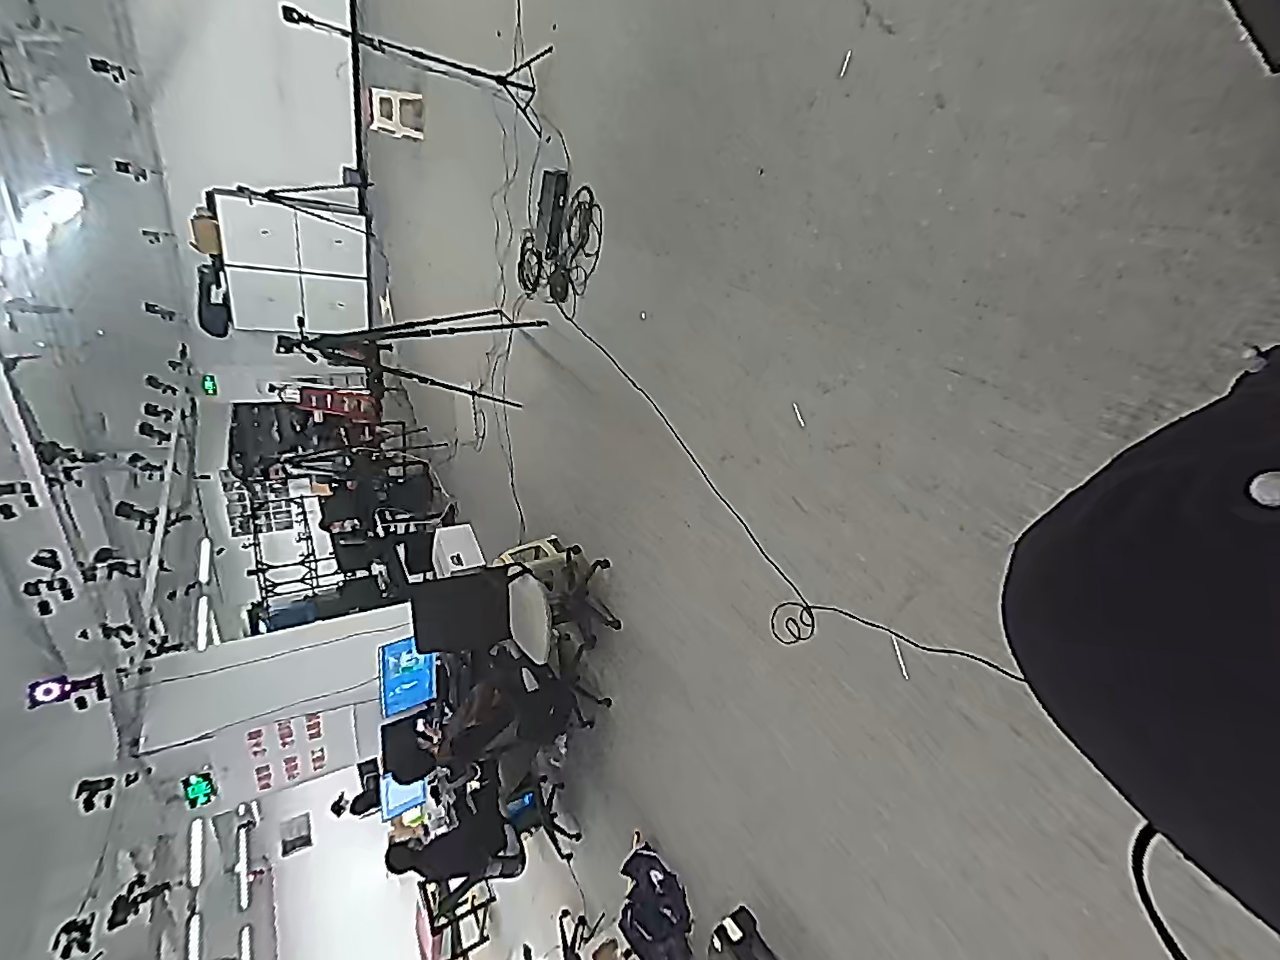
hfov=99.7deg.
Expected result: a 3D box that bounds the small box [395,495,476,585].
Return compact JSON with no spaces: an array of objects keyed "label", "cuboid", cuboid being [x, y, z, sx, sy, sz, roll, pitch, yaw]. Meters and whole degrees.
[{"label":"small box","cuboid":[-0.588,0.163,1.557,0.168,0.176,0.179,-23,150,-29]}]
